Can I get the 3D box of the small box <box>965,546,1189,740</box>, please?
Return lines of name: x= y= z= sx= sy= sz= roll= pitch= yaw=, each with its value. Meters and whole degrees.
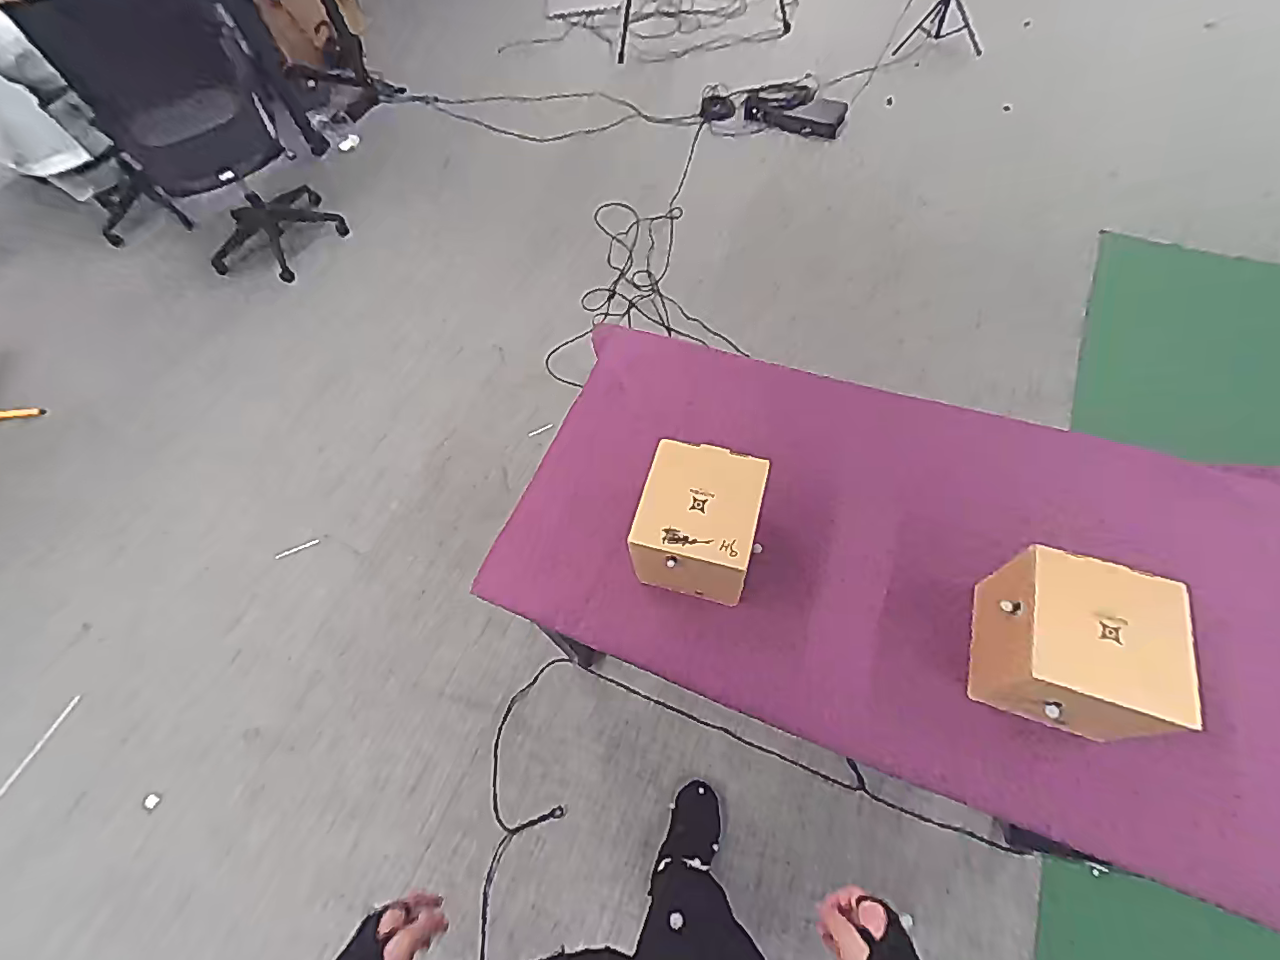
small box: x=0.545 y=0.216 z=0.699 sx=0.168 sy=0.176 sz=0.179 roll=16 pitch=62 yaw=15

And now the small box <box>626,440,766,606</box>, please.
small box: x=0.087 y=0.069 z=0.826 sx=0.168 sy=0.176 sz=0.179 roll=12 pitch=62 yaw=13
